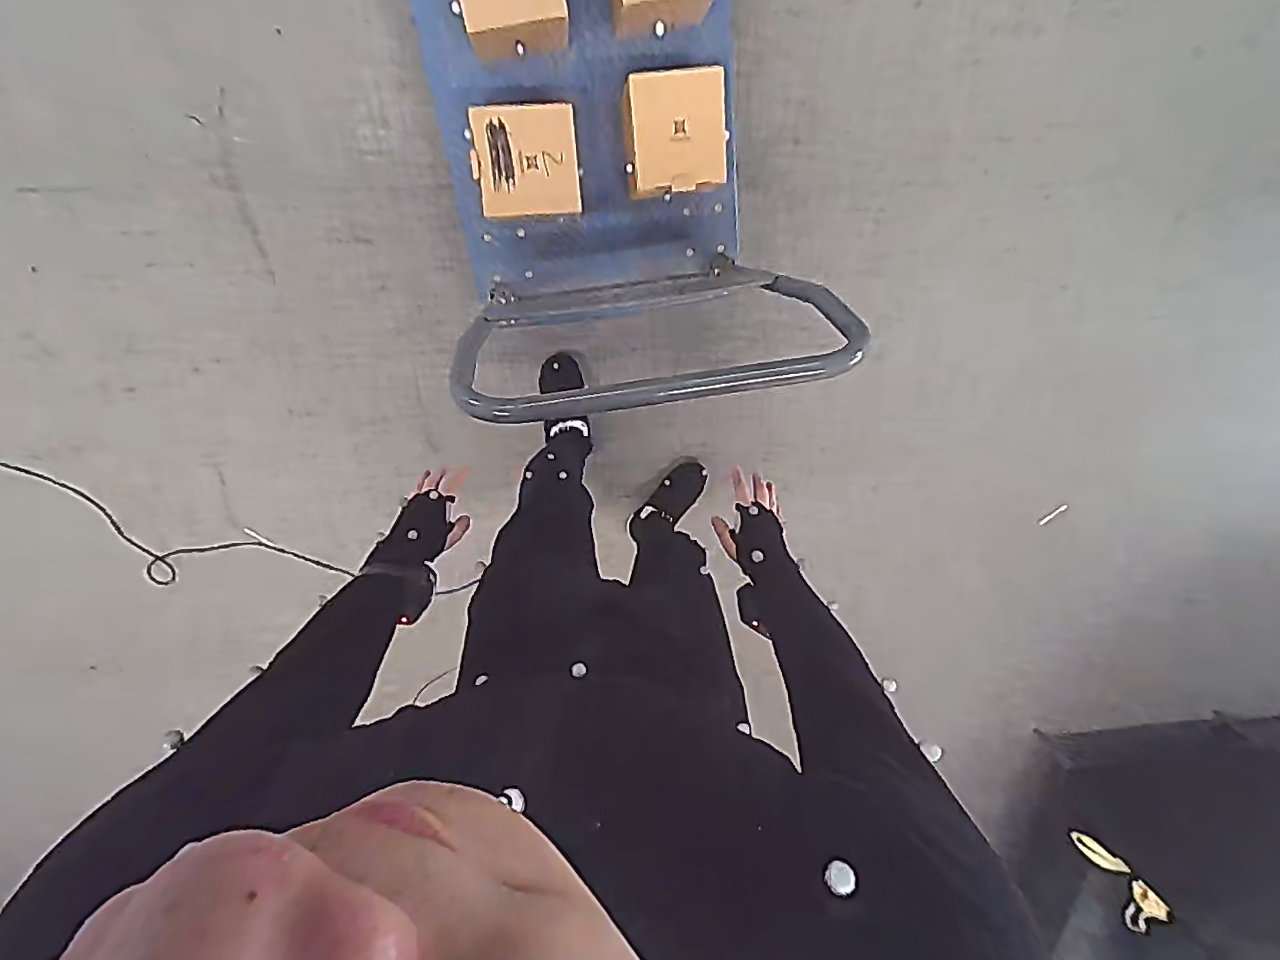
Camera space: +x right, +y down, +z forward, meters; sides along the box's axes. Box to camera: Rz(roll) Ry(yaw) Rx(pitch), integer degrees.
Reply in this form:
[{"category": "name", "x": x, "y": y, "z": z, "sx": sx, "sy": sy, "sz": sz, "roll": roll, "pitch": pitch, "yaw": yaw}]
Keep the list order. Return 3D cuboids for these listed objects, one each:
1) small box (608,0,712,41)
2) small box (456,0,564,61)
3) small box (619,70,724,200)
[{"category": "small box", "x": 0.024, "y": -0.883, "z": 0.907, "sx": 0.168, "sy": 0.176, "sz": 0.179, "roll": -12, "pitch": 115, "yaw": -2}, {"category": "small box", "x": -0.223, "y": -0.829, "z": 0.898, "sx": 0.168, "sy": 0.176, "sz": 0.179, "roll": -12, "pitch": 114, "yaw": -3}, {"category": "small box", "x": 0.055, "y": -0.638, "z": 1.019, "sx": 0.168, "sy": 0.176, "sz": 0.179, "roll": -8, "pitch": 114, "yaw": -4}]
